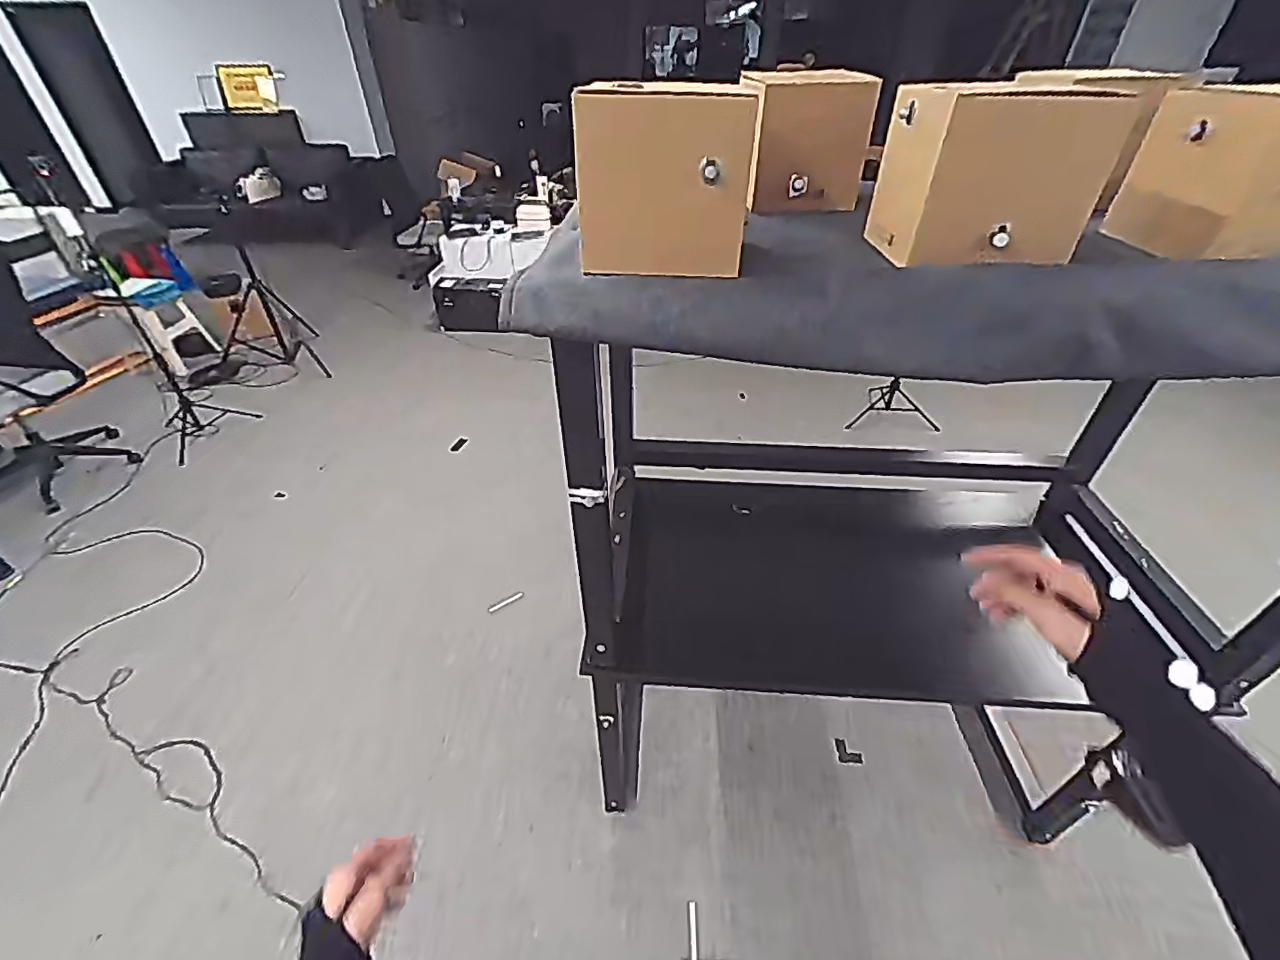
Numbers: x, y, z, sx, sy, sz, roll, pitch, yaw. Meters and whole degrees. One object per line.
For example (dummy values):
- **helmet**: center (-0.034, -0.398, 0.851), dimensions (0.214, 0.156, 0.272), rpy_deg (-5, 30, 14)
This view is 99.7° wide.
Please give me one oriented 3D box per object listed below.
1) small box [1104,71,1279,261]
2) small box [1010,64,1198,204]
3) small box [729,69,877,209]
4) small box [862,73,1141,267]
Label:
- **small box**: center (0.700, -0.357, 0.616), dimensions (0.168, 0.176, 0.179), rpy_deg (0, 38, 1)
- **small box**: center (0.671, -0.536, 0.840), dimensions (0.179, 0.176, 0.168), rpy_deg (2, 39, 3)
- **small box**: center (0.238, -0.533, 0.844), dimensions (0.168, 0.176, 0.179), rpy_deg (-4, 39, -2)
- **small box**: center (0.376, -0.346, 0.606), dimensions (0.179, 0.176, 0.168), rpy_deg (2, 37, 2)
